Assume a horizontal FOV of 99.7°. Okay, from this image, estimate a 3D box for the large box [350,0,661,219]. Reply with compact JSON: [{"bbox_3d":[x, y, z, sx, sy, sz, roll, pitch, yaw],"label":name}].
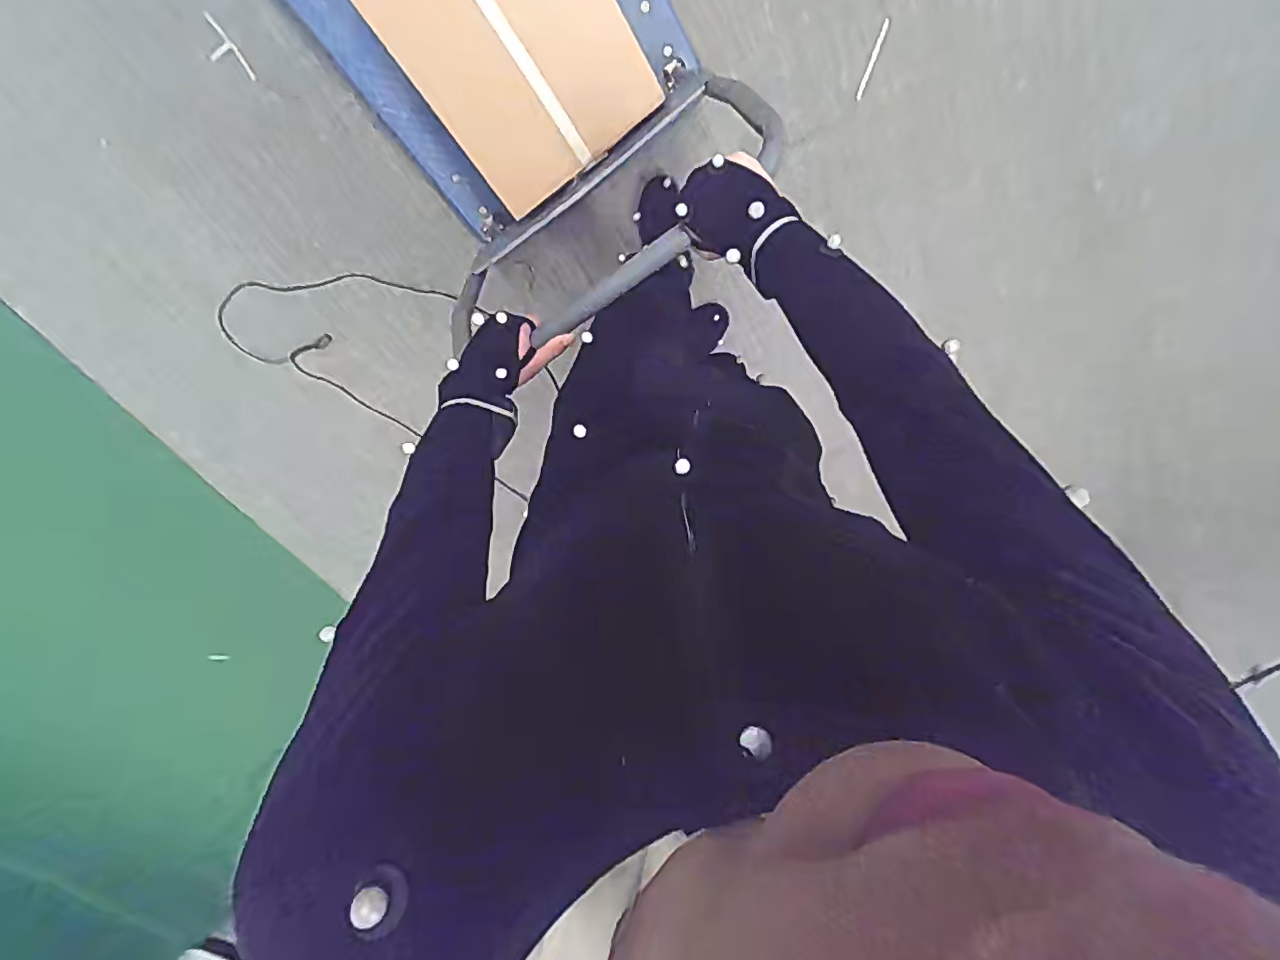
[{"bbox_3d":[-0.204,-0.747,0.937,0.320,0.320,0.408,-30,122,17],"label":"large box"}]
